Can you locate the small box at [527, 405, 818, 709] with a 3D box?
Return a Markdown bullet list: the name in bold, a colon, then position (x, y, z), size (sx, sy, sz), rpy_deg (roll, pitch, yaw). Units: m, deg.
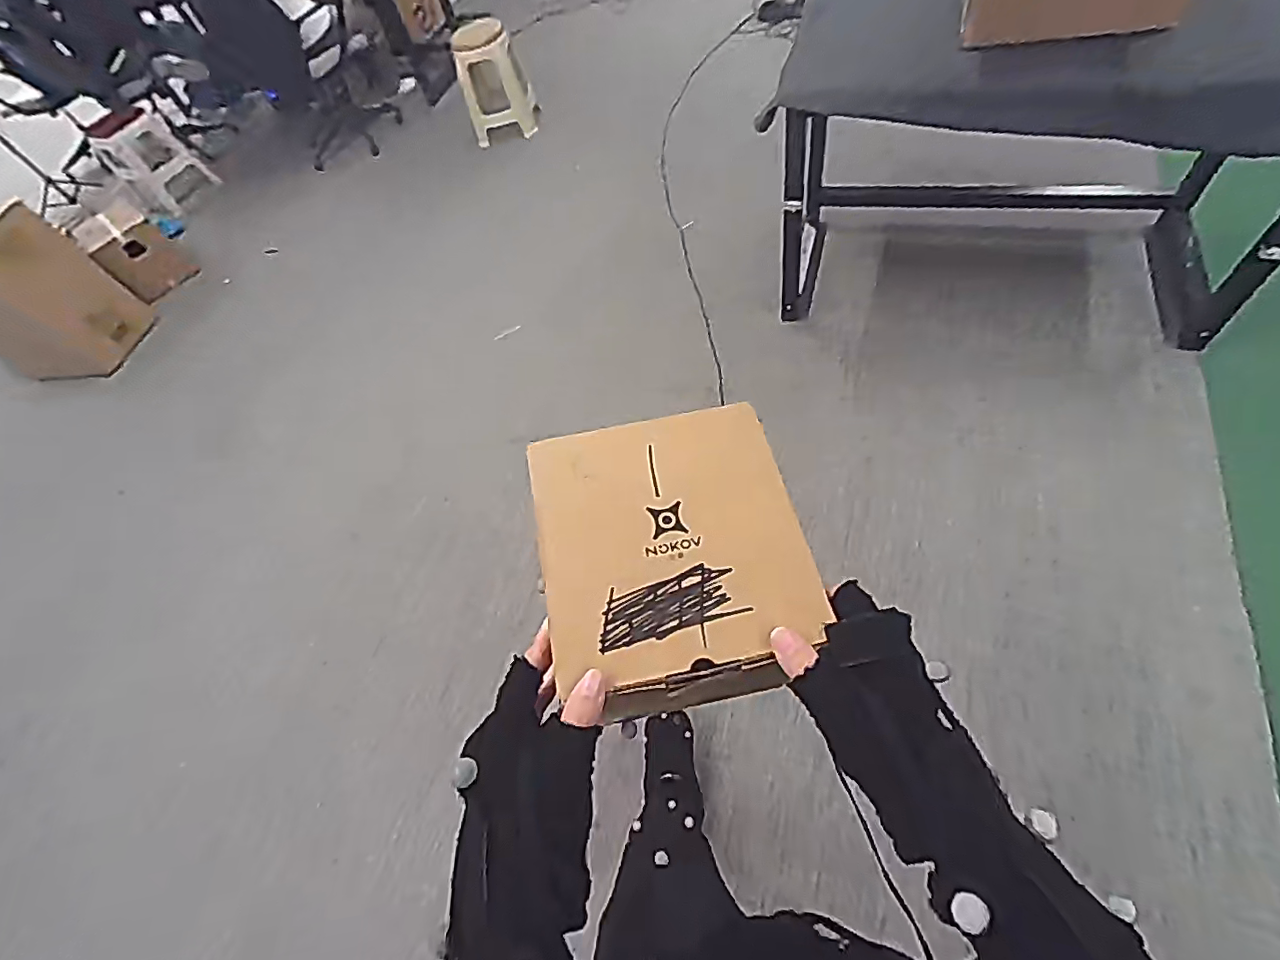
- **small box**: position (0.015, 0.071, 0.422), size (0.168, 0.176, 0.179), rpy_deg (-10, 60, -4)
